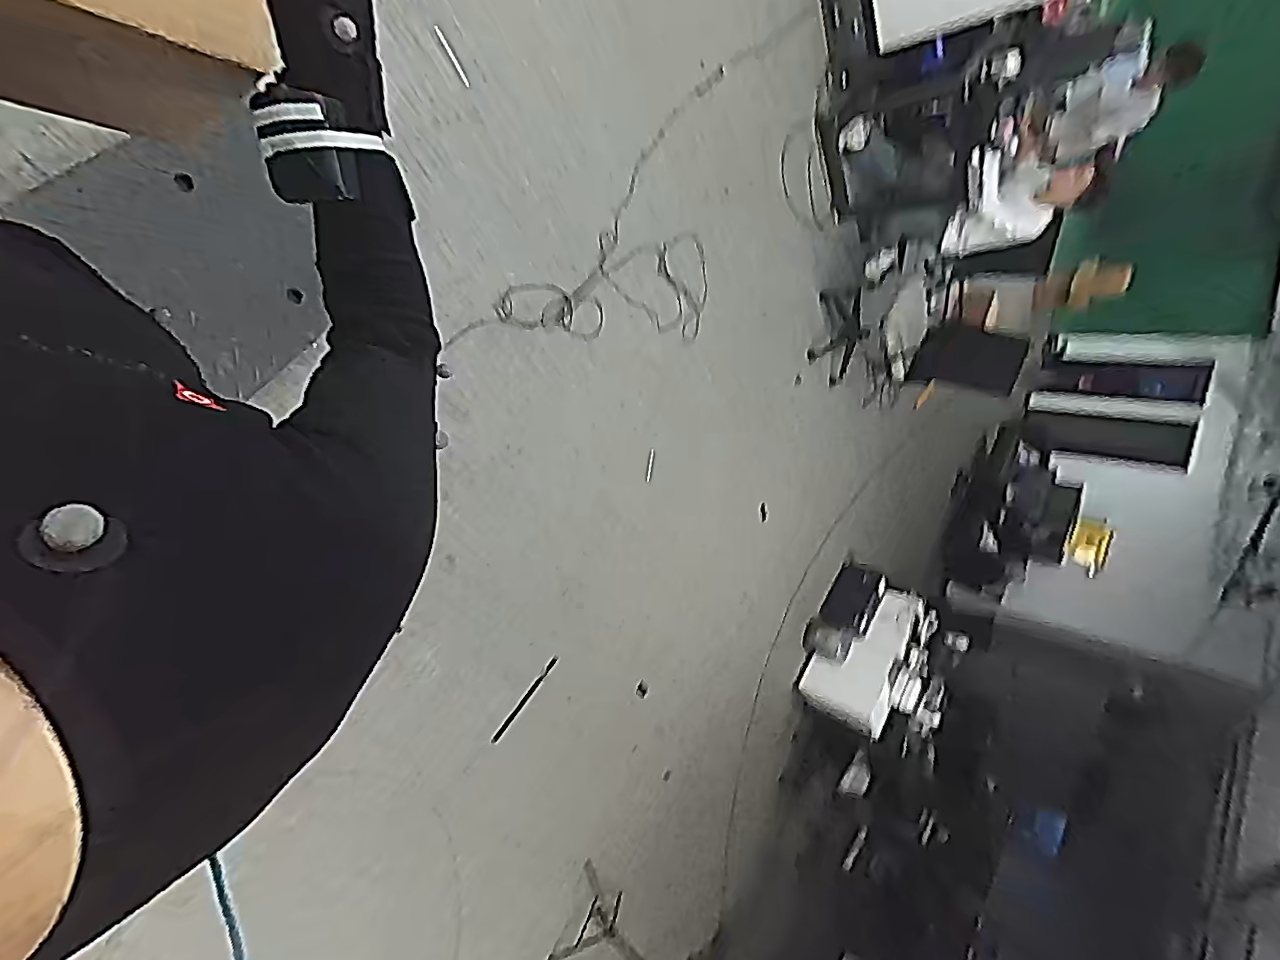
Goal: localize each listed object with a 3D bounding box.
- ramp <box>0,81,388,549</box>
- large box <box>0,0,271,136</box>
[{"bbox_3d":[-1.028,-0.396,1.147,0.991,0.206,0.509,-55,134,-20],"label":"ramp"},{"bbox_3d":[-0.473,-0.436,0.277,0.408,0.320,0.320,-8,111,-46],"label":"large box"}]
